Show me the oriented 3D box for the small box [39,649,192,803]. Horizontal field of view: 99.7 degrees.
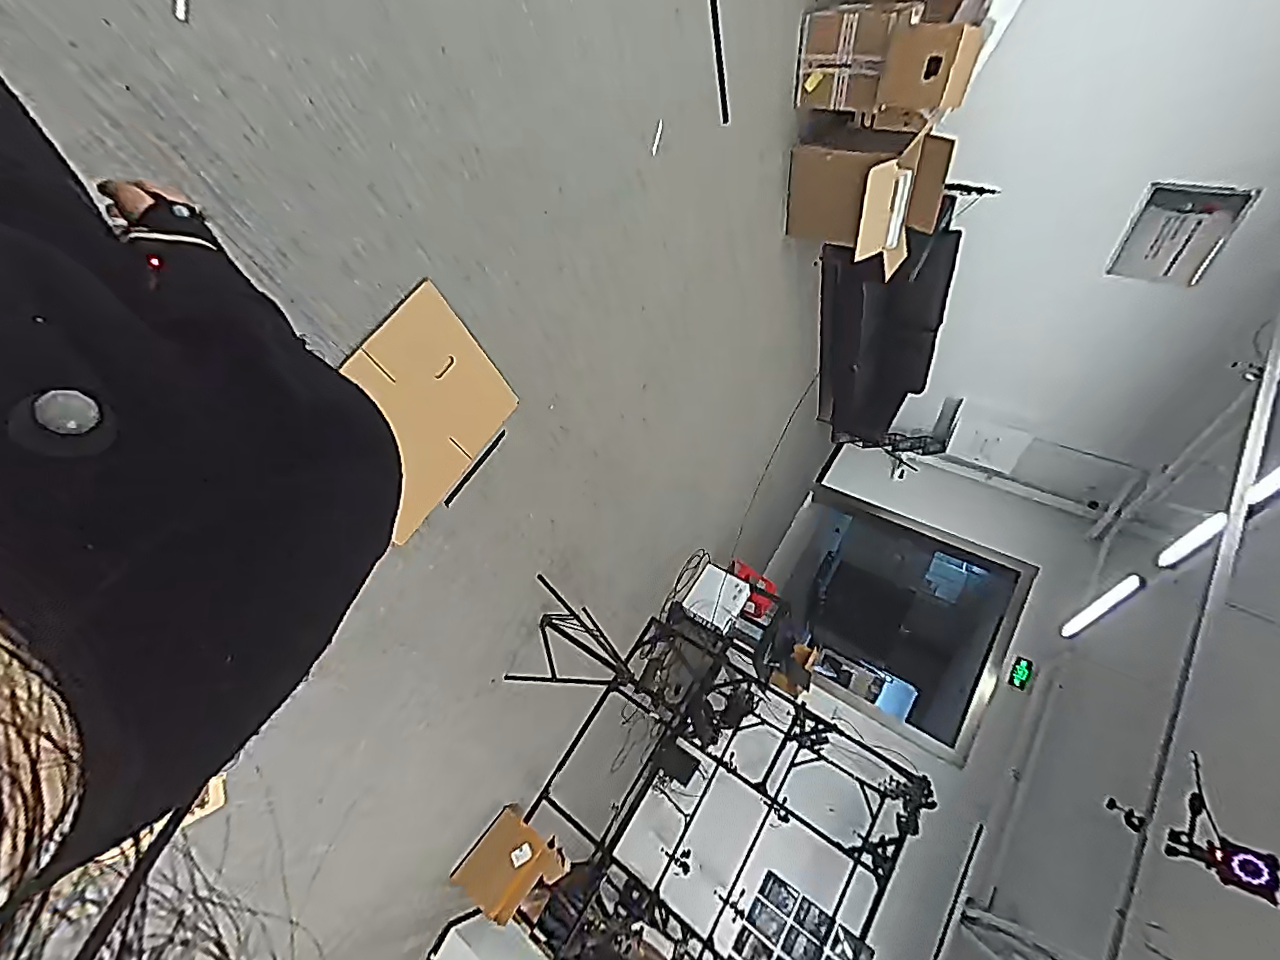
[{"bbox_3d":[-0.994,0.453,1.030,0.179,0.176,0.168,-10,119,-55],"label":"small box"}]
